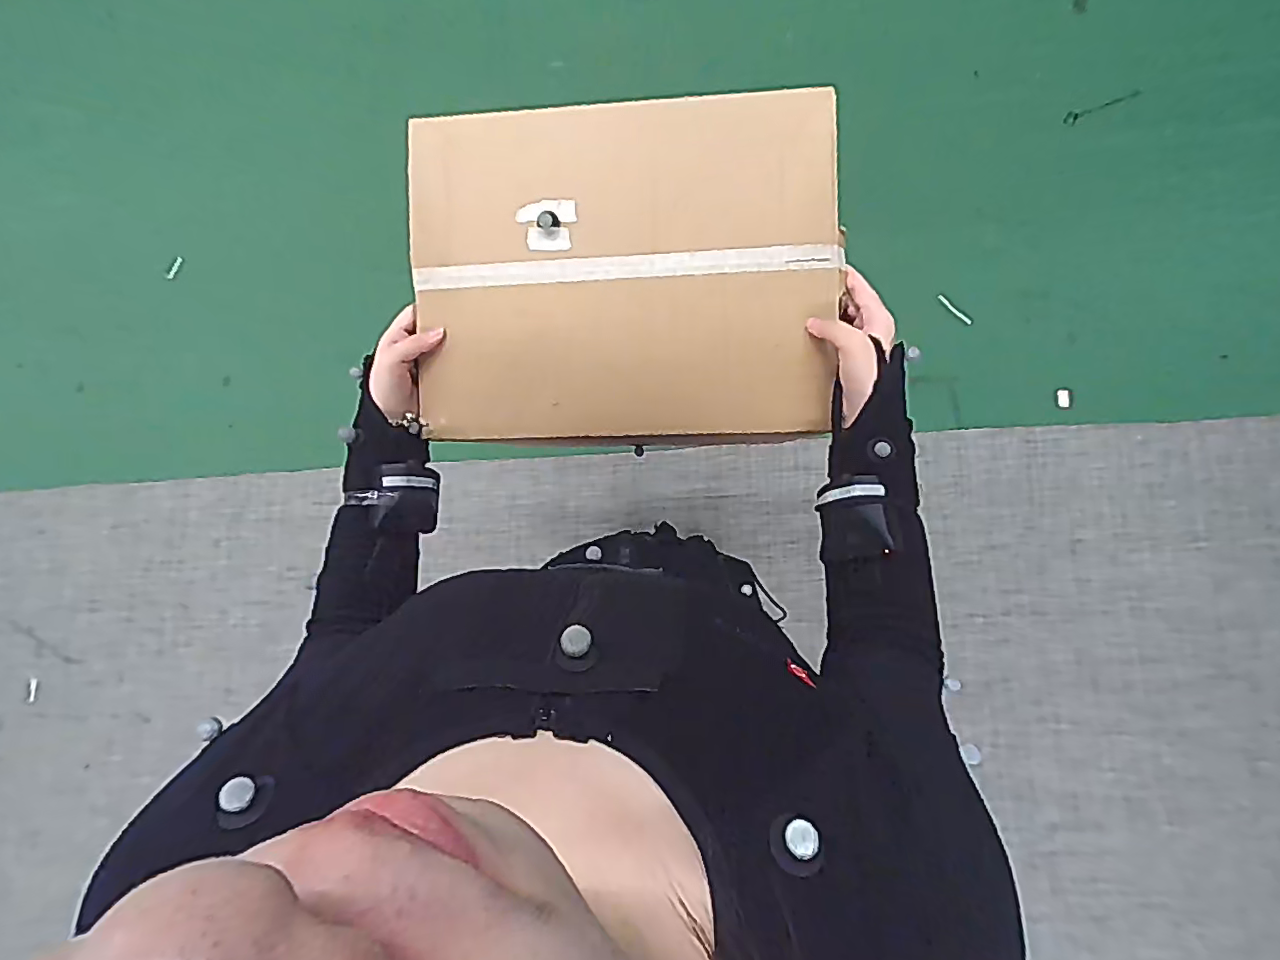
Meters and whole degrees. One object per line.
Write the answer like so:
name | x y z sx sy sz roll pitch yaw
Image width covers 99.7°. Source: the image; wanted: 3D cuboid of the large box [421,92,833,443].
large box | -0.001 -0.207 0.674 0.408 0.320 0.320 -1 92 7
